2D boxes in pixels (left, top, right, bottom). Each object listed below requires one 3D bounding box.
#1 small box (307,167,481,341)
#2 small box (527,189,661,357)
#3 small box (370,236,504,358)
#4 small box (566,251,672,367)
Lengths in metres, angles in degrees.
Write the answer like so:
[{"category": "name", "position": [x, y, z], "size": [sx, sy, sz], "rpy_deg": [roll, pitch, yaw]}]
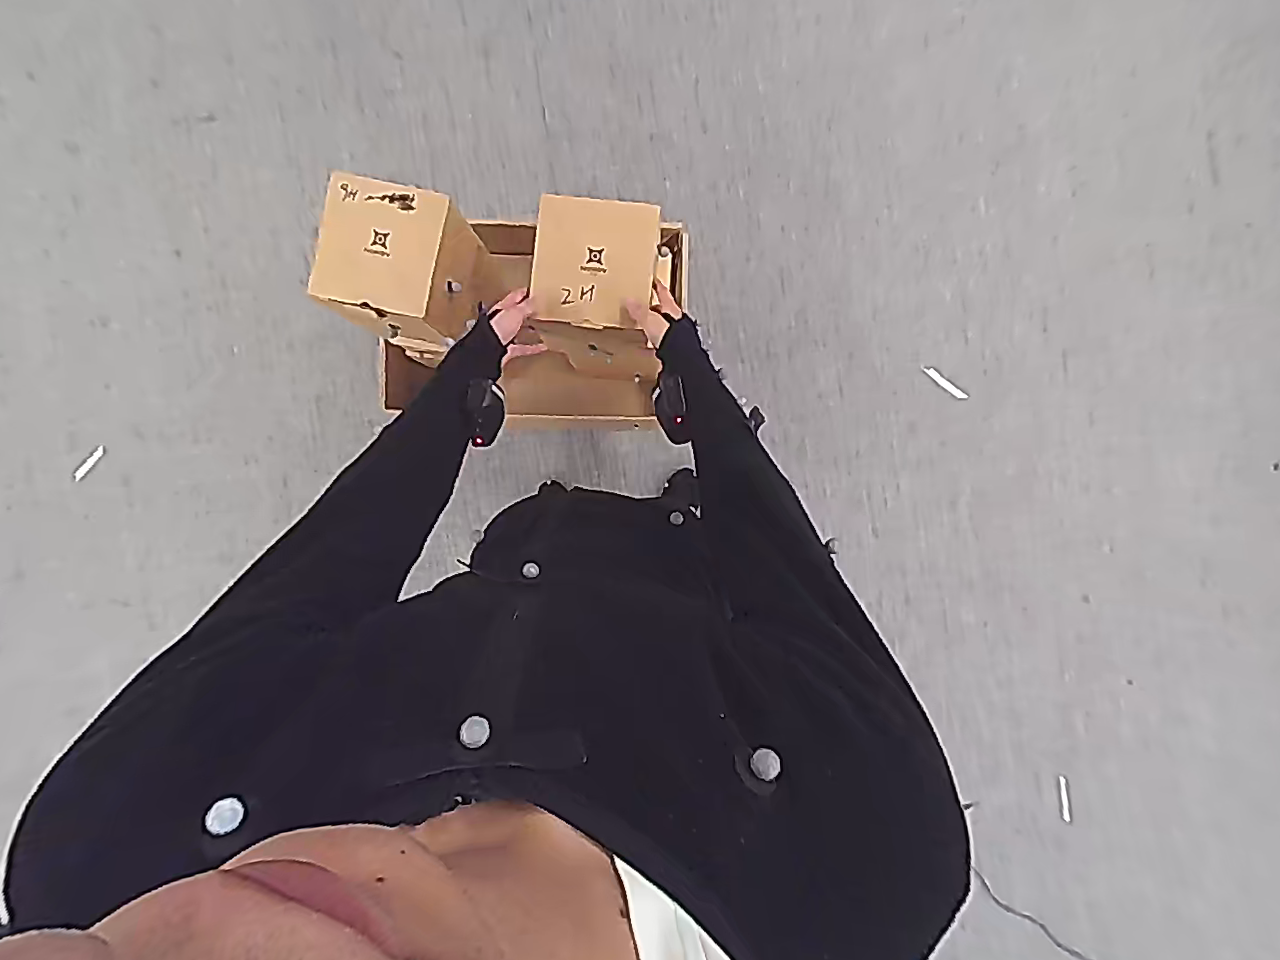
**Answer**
[{"category": "small box", "position": [-0.353, -0.321, 0.808], "size": [0.168, 0.176, 0.179], "rpy_deg": [13, 91, 0]}, {"category": "small box", "position": [-0.062, -0.298, 0.809], "size": [0.168, 0.176, 0.179], "rpy_deg": [6, 90, 1]}, {"category": "small box", "position": [-0.354, -0.329, 0.973], "size": [0.168, 0.176, 0.179], "rpy_deg": [9, 90, 0]}, {"category": "small box", "position": [-0.038, -0.304, 0.975], "size": [0.179, 0.176, 0.168], "rpy_deg": [4, 90, 1]}]
